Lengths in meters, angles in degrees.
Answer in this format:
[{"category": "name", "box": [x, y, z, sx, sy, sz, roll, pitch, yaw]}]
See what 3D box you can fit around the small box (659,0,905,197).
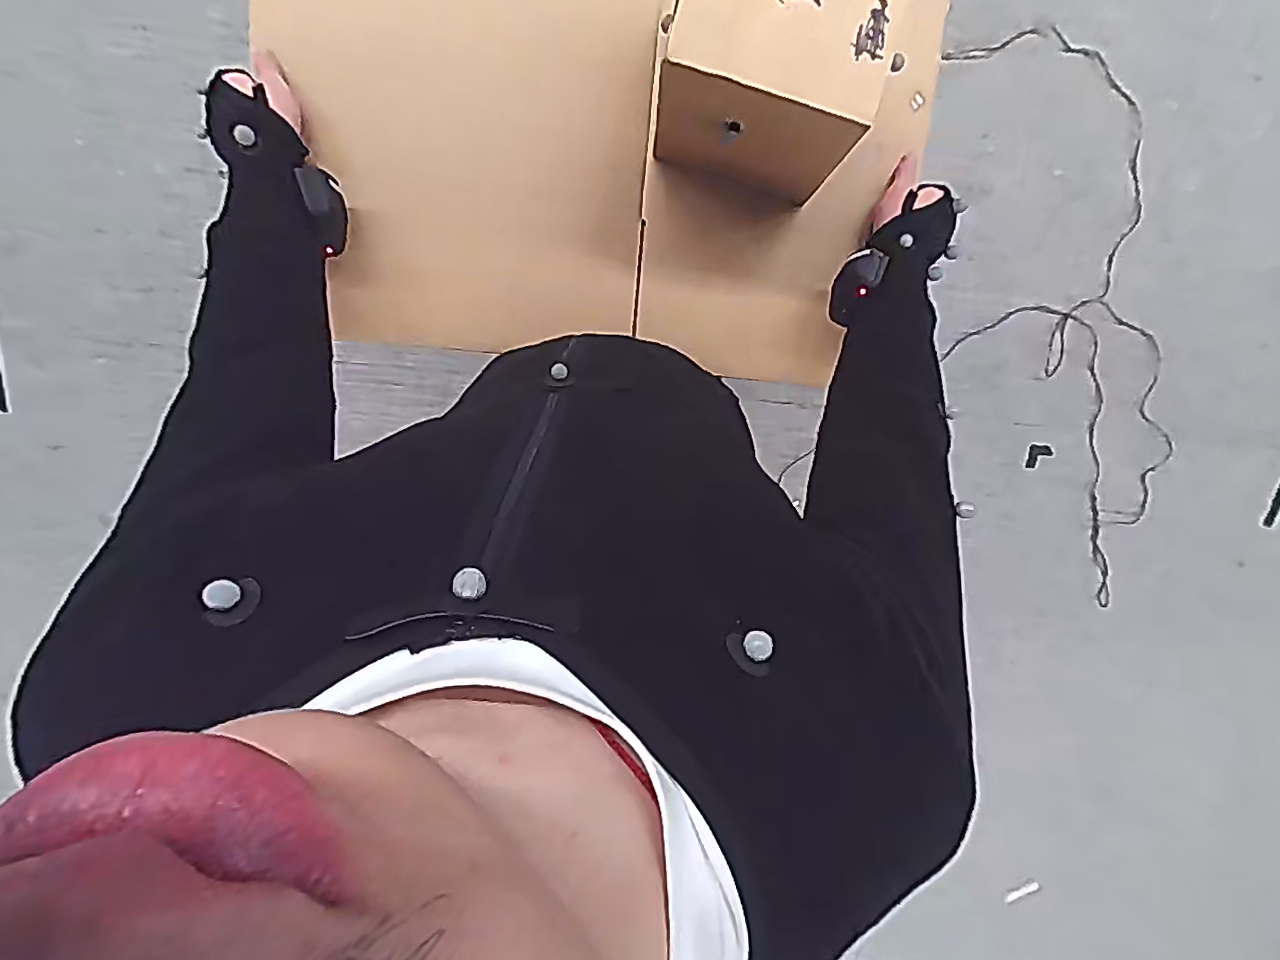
[{"category": "small box", "box": [0.121, -0.393, 0.502, 0.179, 0.176, 0.168, 16, 97, -2]}]
